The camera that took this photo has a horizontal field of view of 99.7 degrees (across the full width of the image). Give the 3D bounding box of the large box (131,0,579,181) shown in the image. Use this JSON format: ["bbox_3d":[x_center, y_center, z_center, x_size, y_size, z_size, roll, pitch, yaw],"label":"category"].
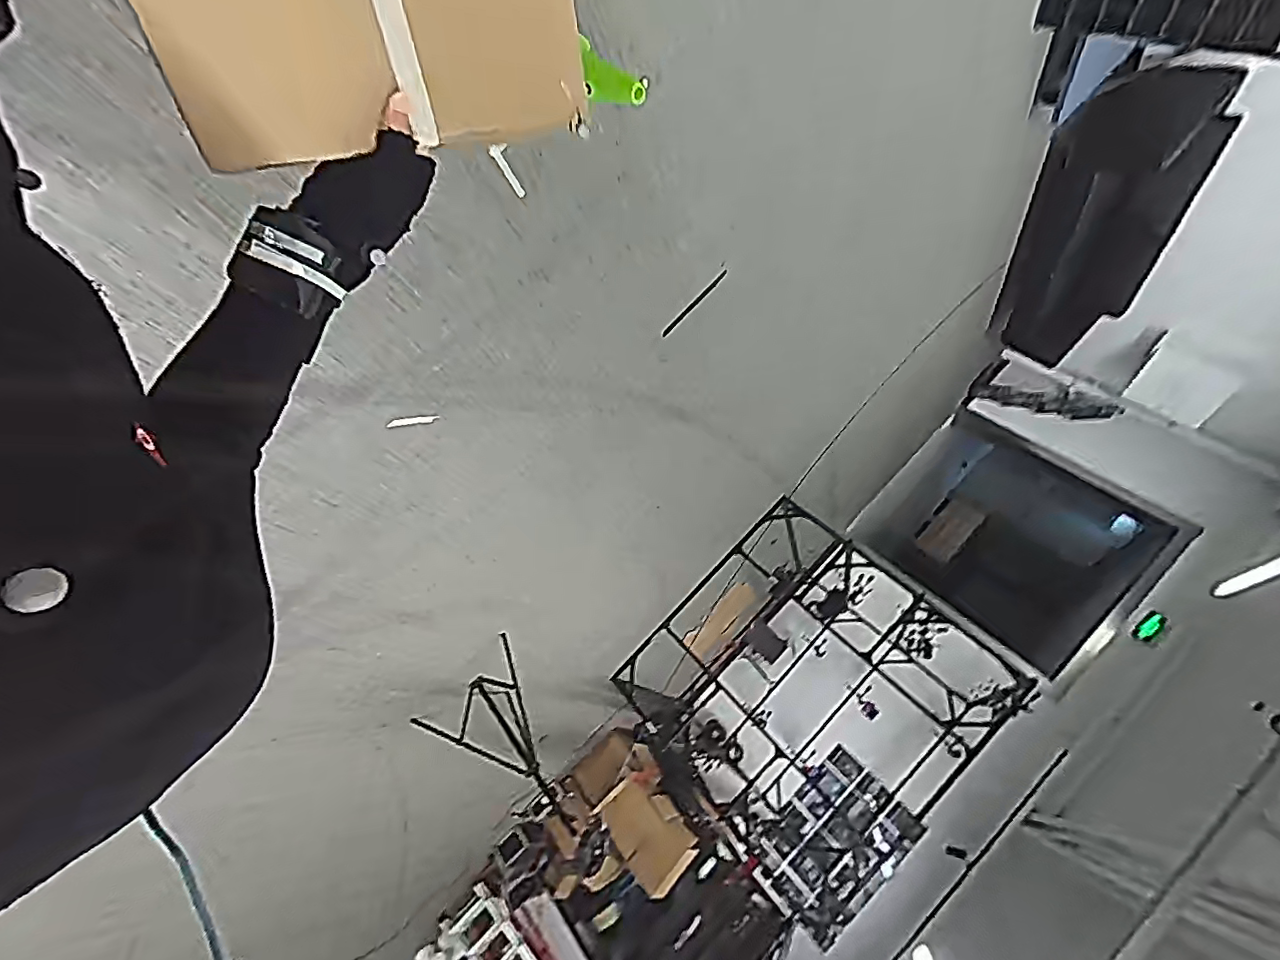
[{"bbox_3d":[-0.289,-0.507,0.466,0.320,0.320,0.408,-23,126,-24],"label":"large box"}]
